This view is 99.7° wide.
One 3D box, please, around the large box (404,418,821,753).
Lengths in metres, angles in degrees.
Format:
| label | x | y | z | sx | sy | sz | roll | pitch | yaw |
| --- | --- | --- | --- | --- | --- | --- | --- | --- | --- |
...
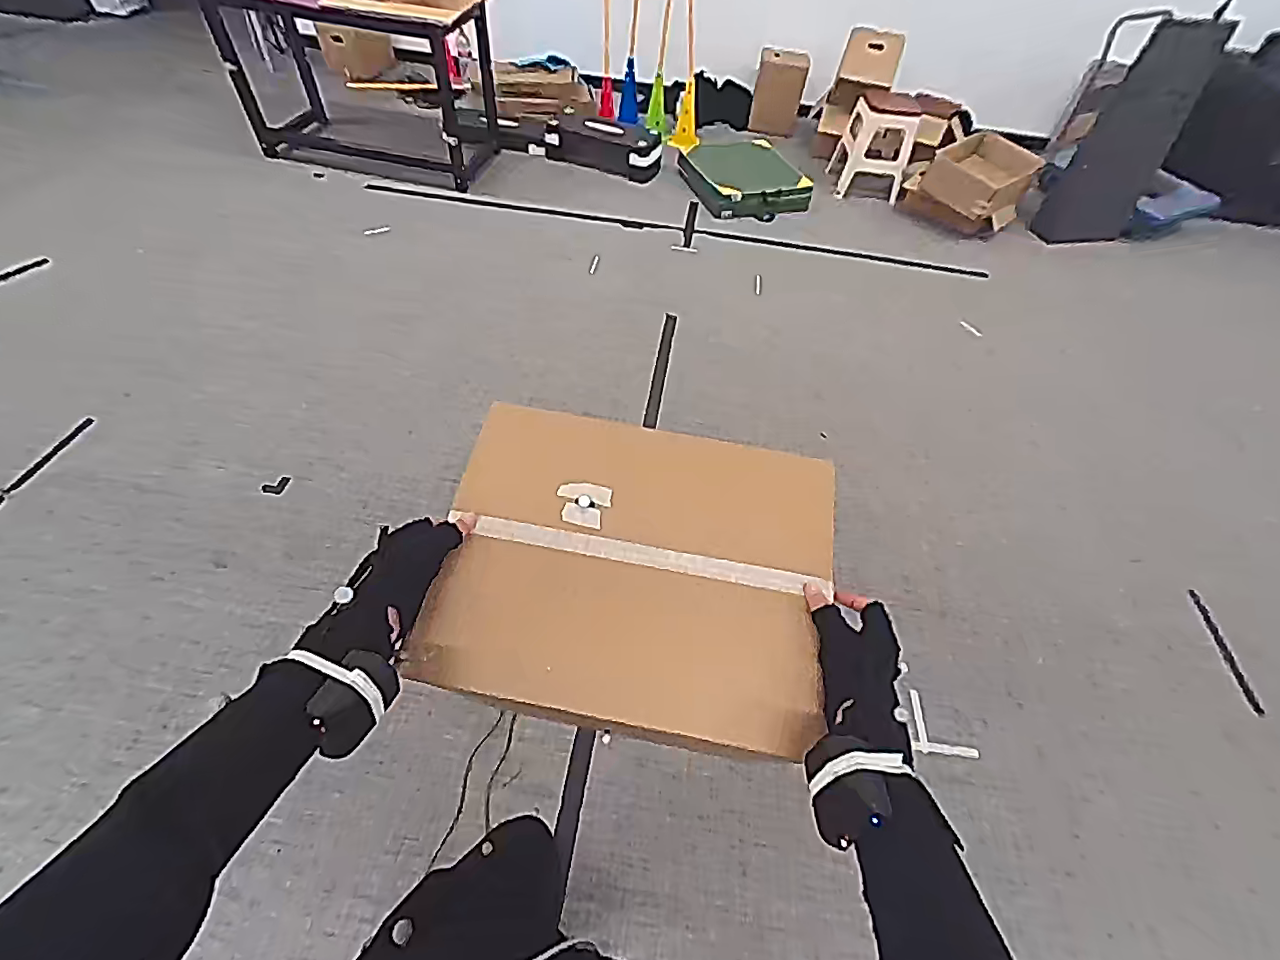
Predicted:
| label | x | y | z | sx | sy | sz | roll | pitch | yaw |
| --- | --- | --- | --- | --- | --- | --- | --- | --- | --- |
| large box | -0.010 | 0.155 | 0.706 | 0.408 | 0.320 | 0.320 | 10 | 62 | 4 |
